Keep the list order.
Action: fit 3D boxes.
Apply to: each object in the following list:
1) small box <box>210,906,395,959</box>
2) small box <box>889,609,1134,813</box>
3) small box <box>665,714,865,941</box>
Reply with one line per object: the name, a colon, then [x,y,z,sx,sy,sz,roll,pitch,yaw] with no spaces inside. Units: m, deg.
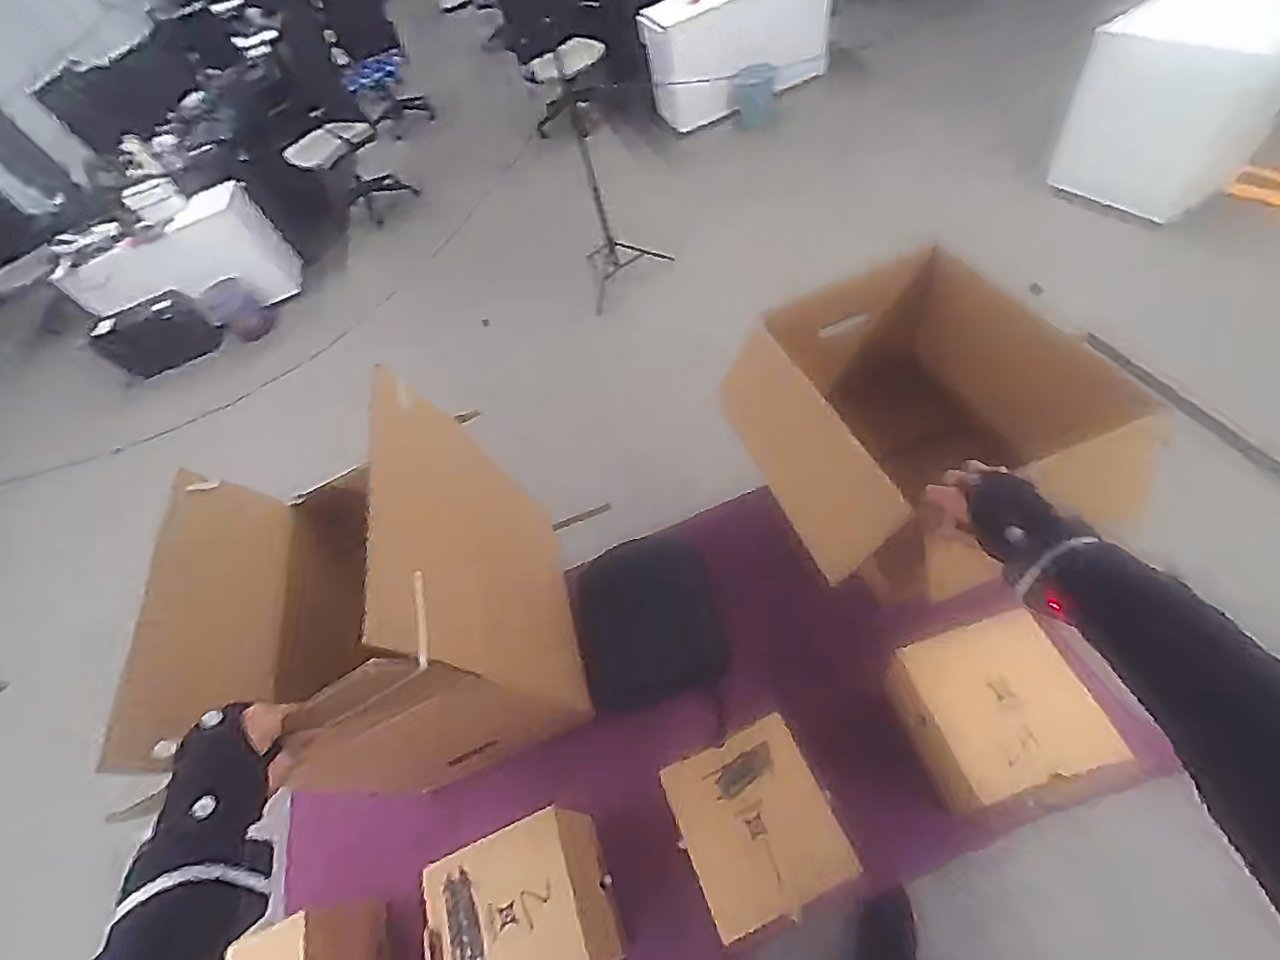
small box: [-0.431,0.666,0.673,0.179,0.176,0.168,-26,52,-4]
small box: [0.434,0.293,0.676,0.168,0.176,0.179,-20,53,4]
small box: [0.148,0.425,0.670,0.168,0.176,0.179,-26,53,-2]
